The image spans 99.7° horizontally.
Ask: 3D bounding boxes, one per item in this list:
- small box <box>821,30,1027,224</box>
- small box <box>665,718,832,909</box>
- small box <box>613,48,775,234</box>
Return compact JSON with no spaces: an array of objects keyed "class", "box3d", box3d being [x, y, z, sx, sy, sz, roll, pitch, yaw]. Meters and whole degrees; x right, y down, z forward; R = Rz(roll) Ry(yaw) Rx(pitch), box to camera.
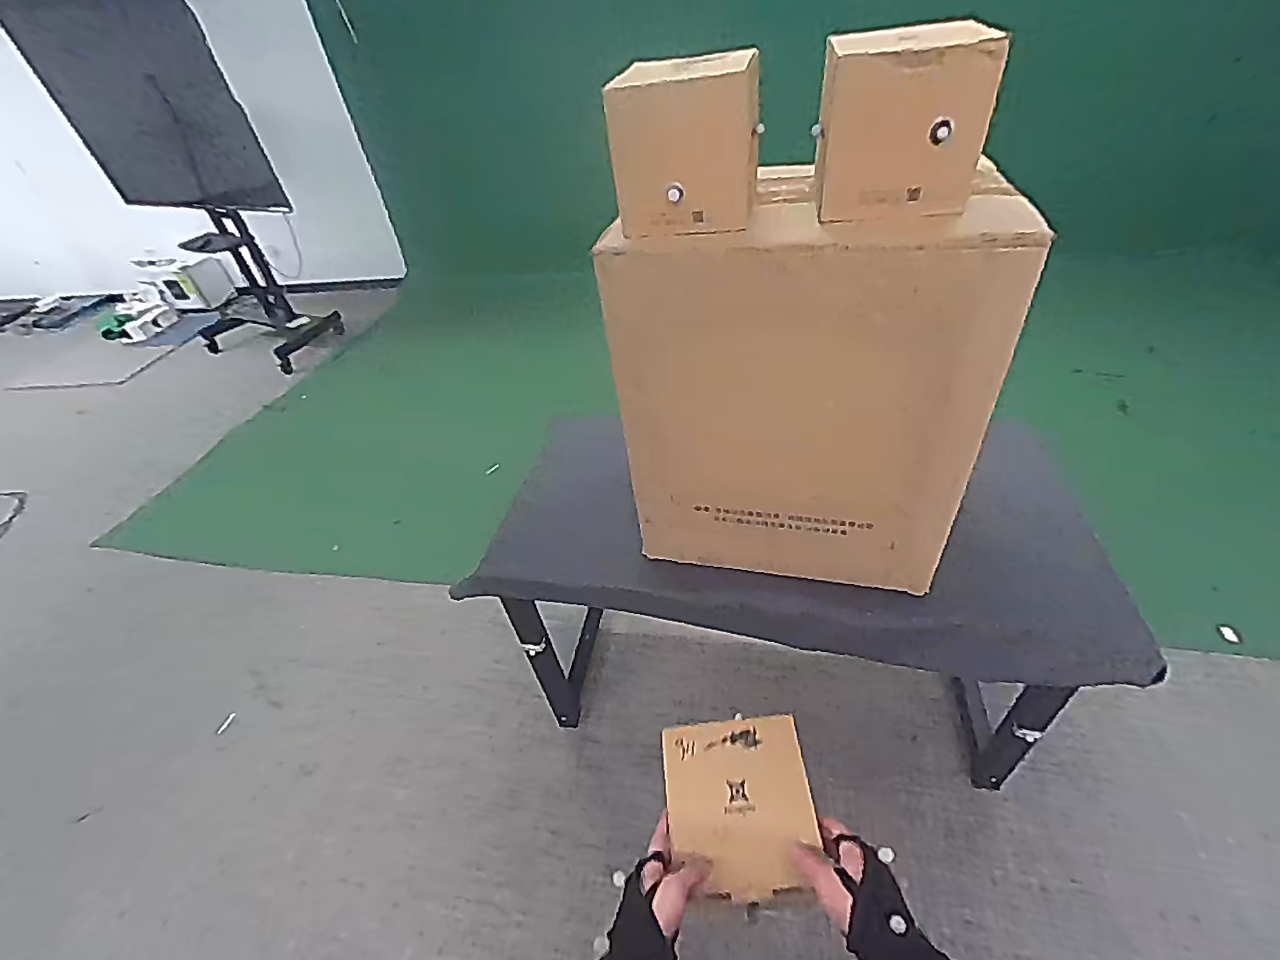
[{"class":"small box","box3d":[0.320,-0.421,0.654,0.168,0.176,0.179,4,43,10]},{"class":"small box","box3d":[0.131,0.427,0.686,0.168,0.176,0.179,-10,48,3]},{"class":"small box","box3d":[0.078,-0.433,0.698,0.168,0.176,0.179,5,45,17]}]
